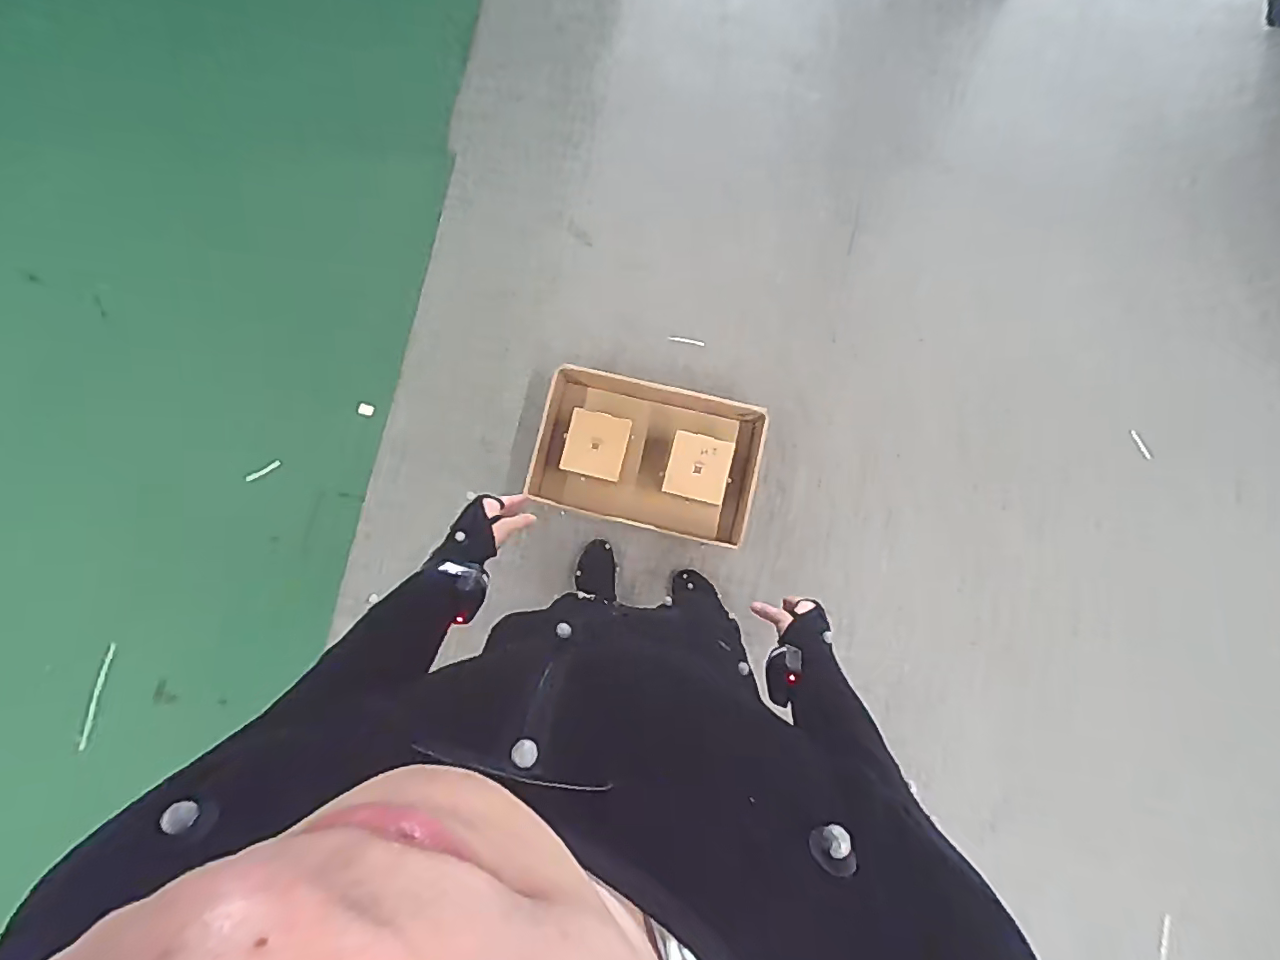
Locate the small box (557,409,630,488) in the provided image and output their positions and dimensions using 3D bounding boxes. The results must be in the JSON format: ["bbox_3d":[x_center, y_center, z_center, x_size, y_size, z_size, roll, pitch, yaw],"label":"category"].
[{"bbox_3d":[-0.125,-0.082,1.537,0.168,0.176,0.179,13,84,2],"label":"small box"}]

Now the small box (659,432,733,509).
[{"bbox_3d":[0.153,-0.019,1.523,0.168,0.176,0.179,15,85,3],"label":"small box"}]
